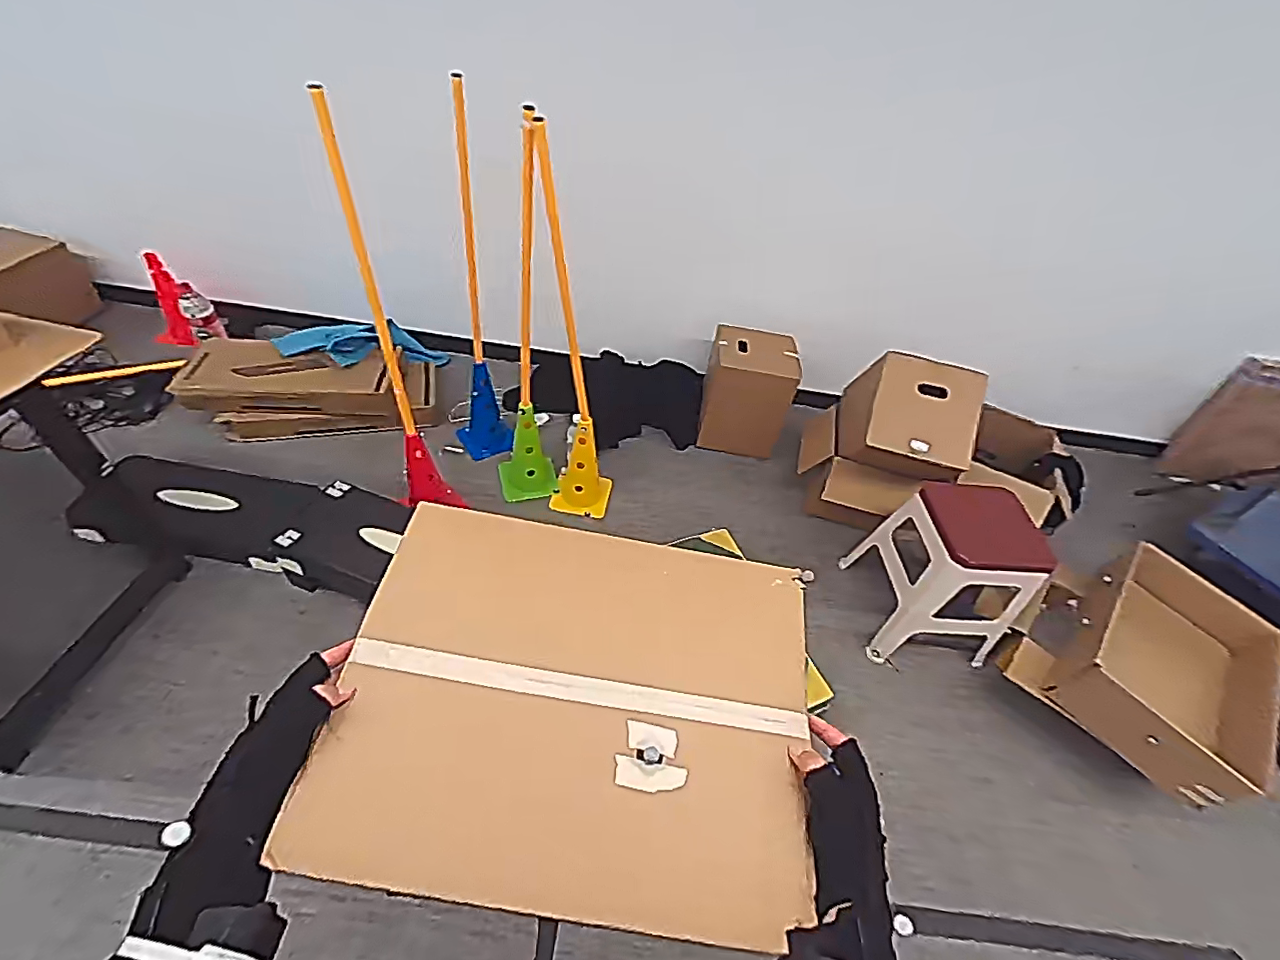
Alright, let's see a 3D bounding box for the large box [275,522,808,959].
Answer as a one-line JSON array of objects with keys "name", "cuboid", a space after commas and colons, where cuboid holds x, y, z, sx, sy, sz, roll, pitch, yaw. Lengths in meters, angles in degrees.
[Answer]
[{"name": "large box", "cuboid": [-0.072, 0.282, 0.600, 0.408, 0.320, 0.320, 11, 55, -2]}]
